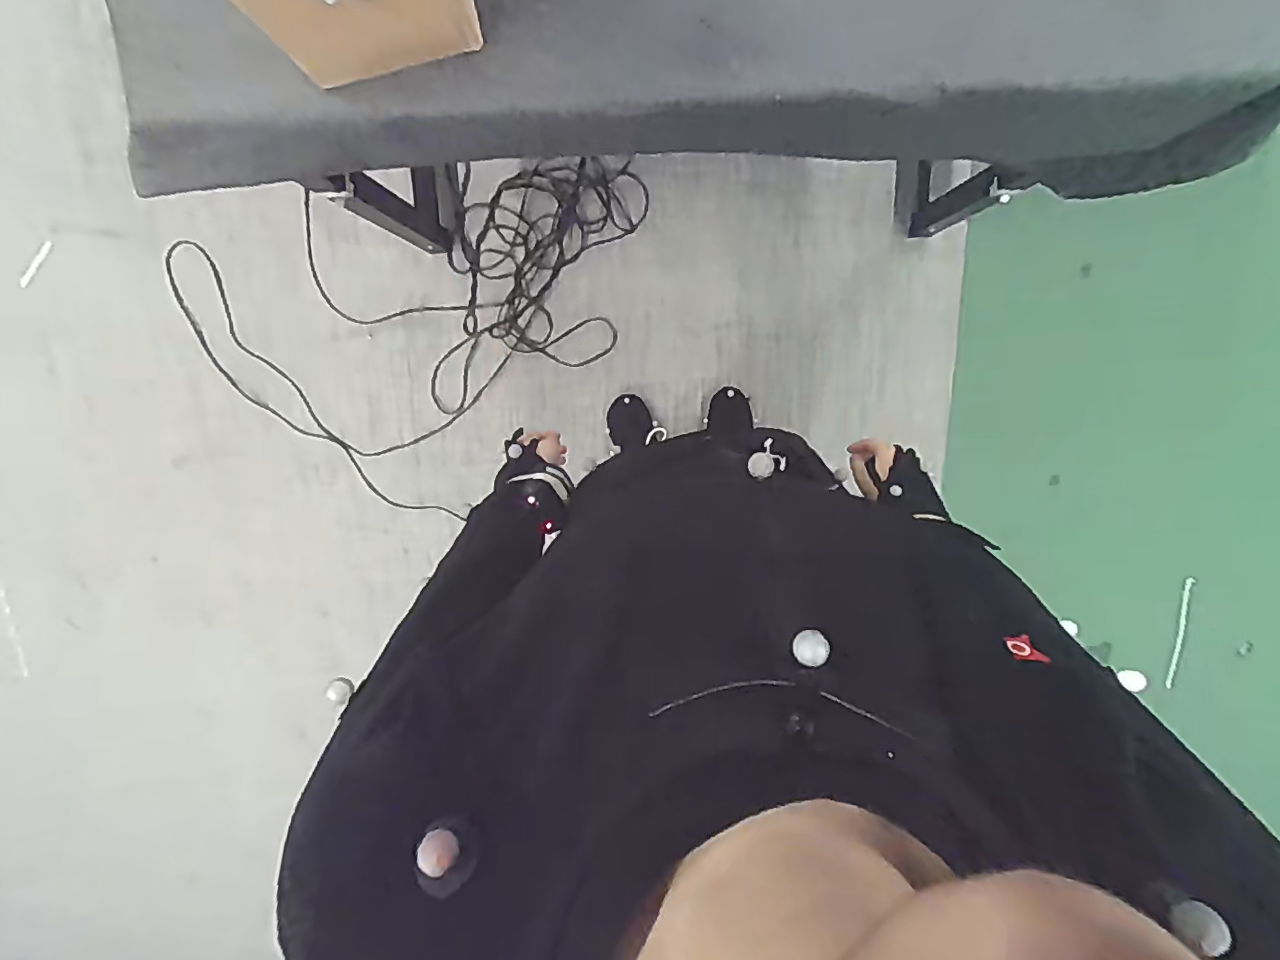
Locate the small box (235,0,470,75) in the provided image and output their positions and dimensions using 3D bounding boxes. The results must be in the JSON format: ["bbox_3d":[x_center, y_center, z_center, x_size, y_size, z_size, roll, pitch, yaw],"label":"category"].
[{"bbox_3d":[-0.258,-0.486,0.452,0.179,0.176,0.168,-11,100,3],"label":"small box"}]
